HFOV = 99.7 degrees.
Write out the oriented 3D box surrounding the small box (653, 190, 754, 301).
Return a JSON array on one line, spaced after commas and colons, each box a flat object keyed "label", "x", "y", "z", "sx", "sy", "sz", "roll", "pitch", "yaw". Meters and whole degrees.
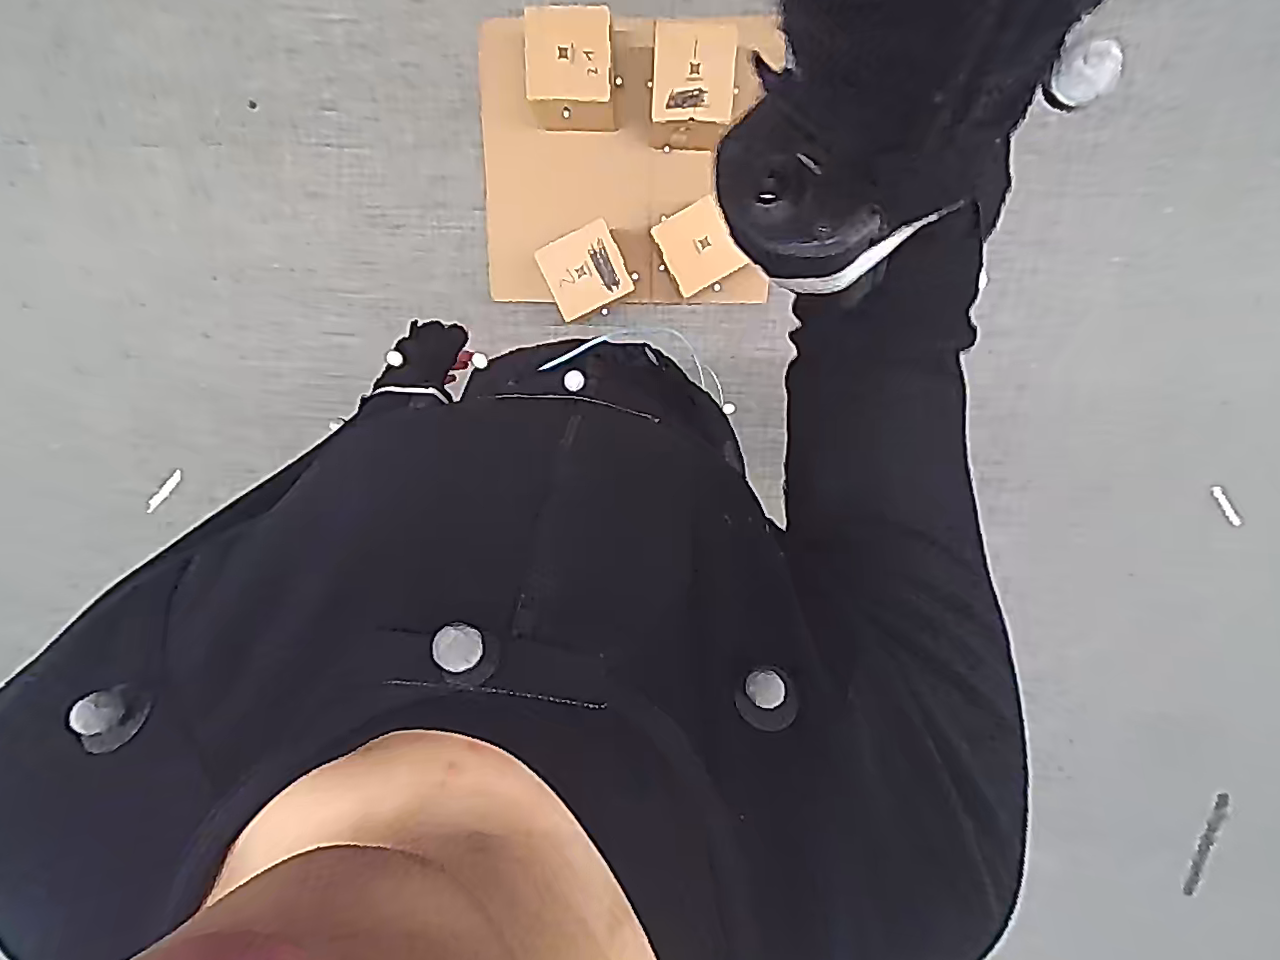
[{"label": "small box", "x": 0.142, "y": -0.534, "z": 1.256, "sx": 0.179, "sy": 0.176, "sz": 0.168, "roll": -27, "pitch": 101, "yaw": 10}]
